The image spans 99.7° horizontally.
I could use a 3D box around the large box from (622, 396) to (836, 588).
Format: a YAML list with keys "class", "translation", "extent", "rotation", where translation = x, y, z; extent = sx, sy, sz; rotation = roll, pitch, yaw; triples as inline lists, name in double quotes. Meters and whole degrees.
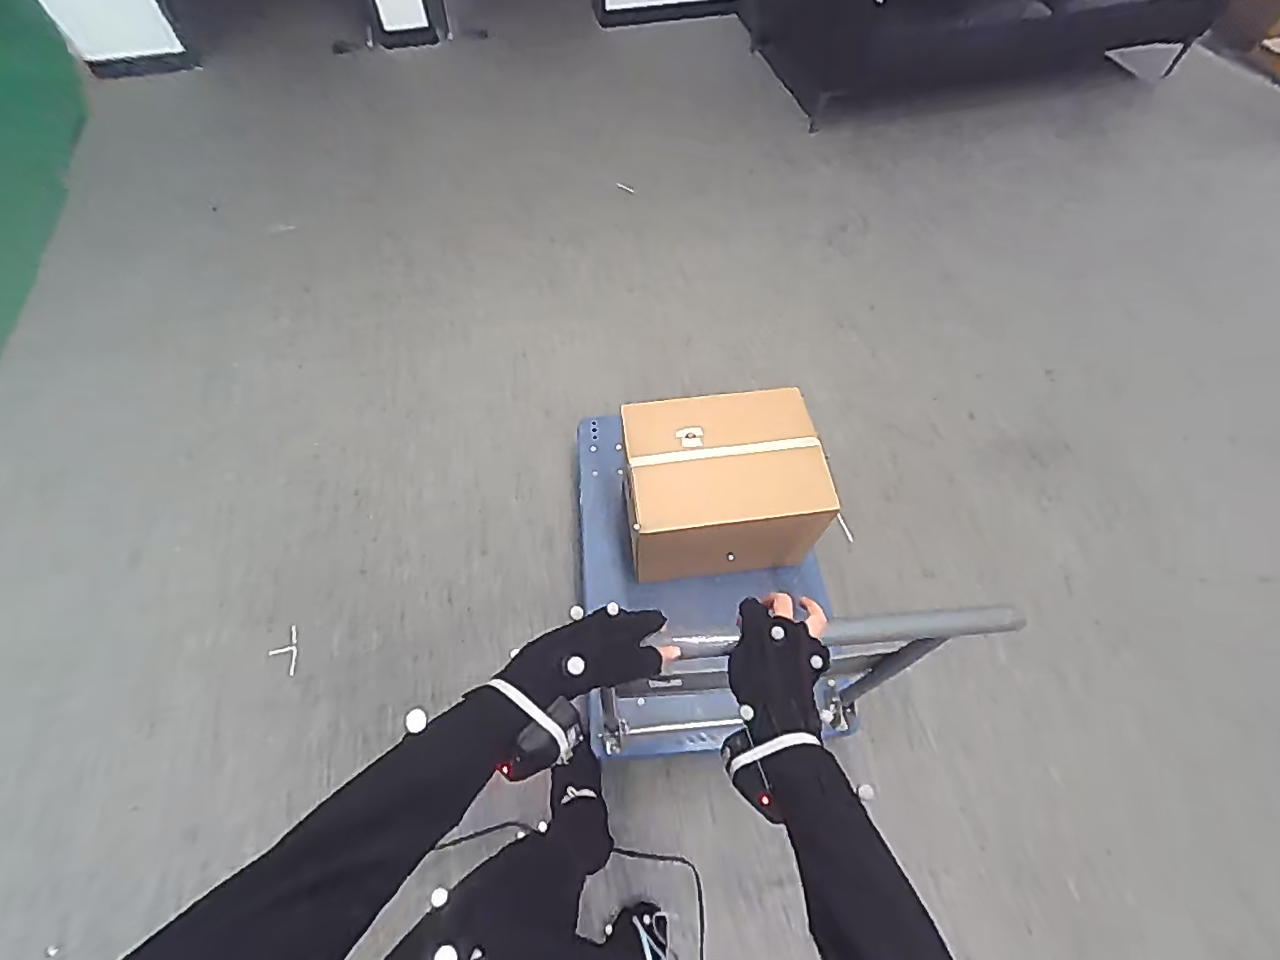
- class: "large box"
  translation: [0.178, 0.038, 1.264]
  extent: [0.408, 0.320, 0.320]
  rotation: [-7, 60, -4]
